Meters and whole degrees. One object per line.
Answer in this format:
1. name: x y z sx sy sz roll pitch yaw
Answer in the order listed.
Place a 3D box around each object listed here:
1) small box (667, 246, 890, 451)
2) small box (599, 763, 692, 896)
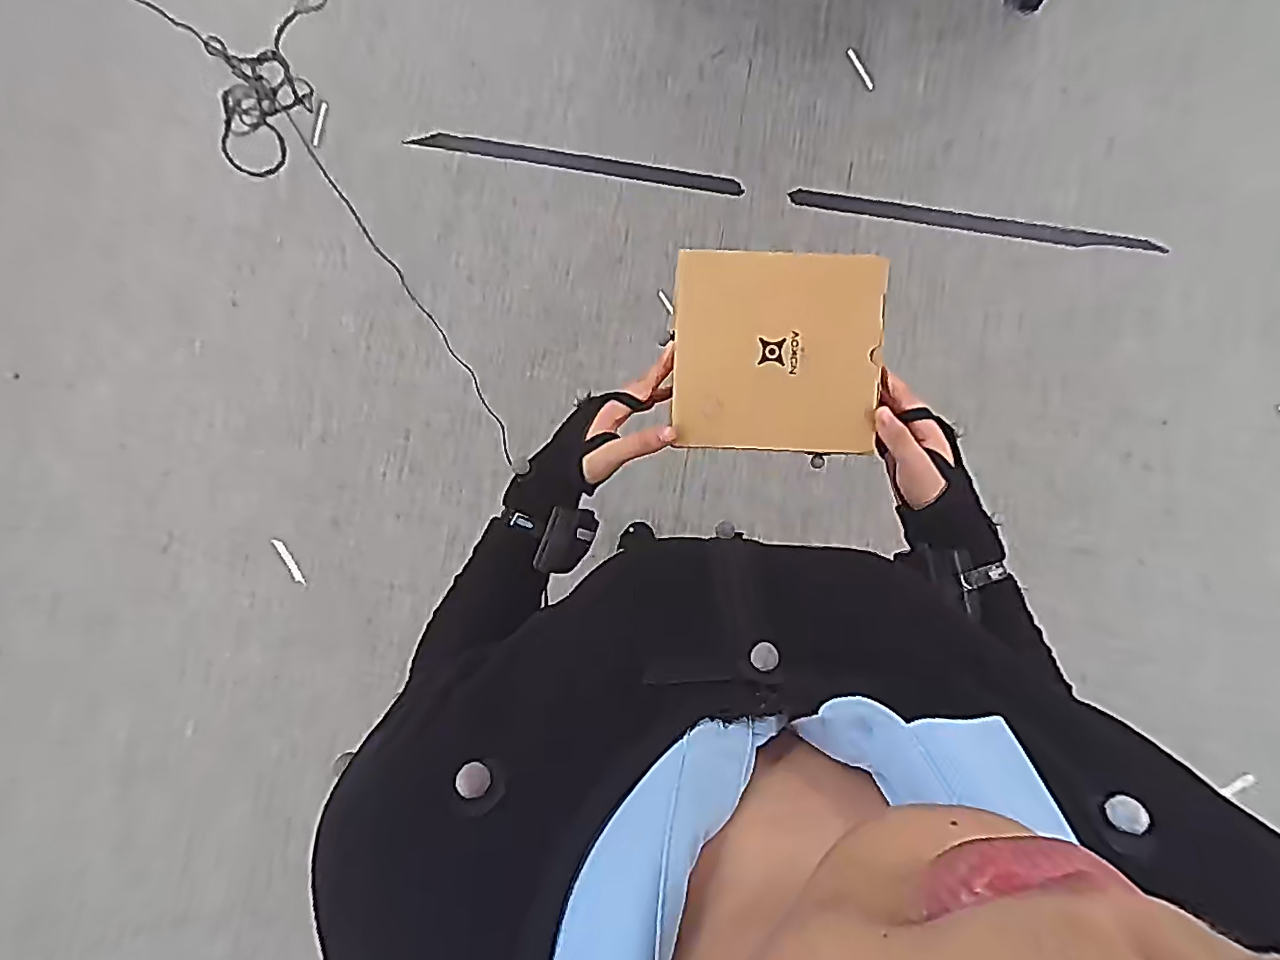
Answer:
1. small box: 0.117 -0.114 0.529 0.179 0.176 0.168 2 94 1
2. small box: 0.014 0.774 1.220 0.168 0.176 0.179 14 87 4
